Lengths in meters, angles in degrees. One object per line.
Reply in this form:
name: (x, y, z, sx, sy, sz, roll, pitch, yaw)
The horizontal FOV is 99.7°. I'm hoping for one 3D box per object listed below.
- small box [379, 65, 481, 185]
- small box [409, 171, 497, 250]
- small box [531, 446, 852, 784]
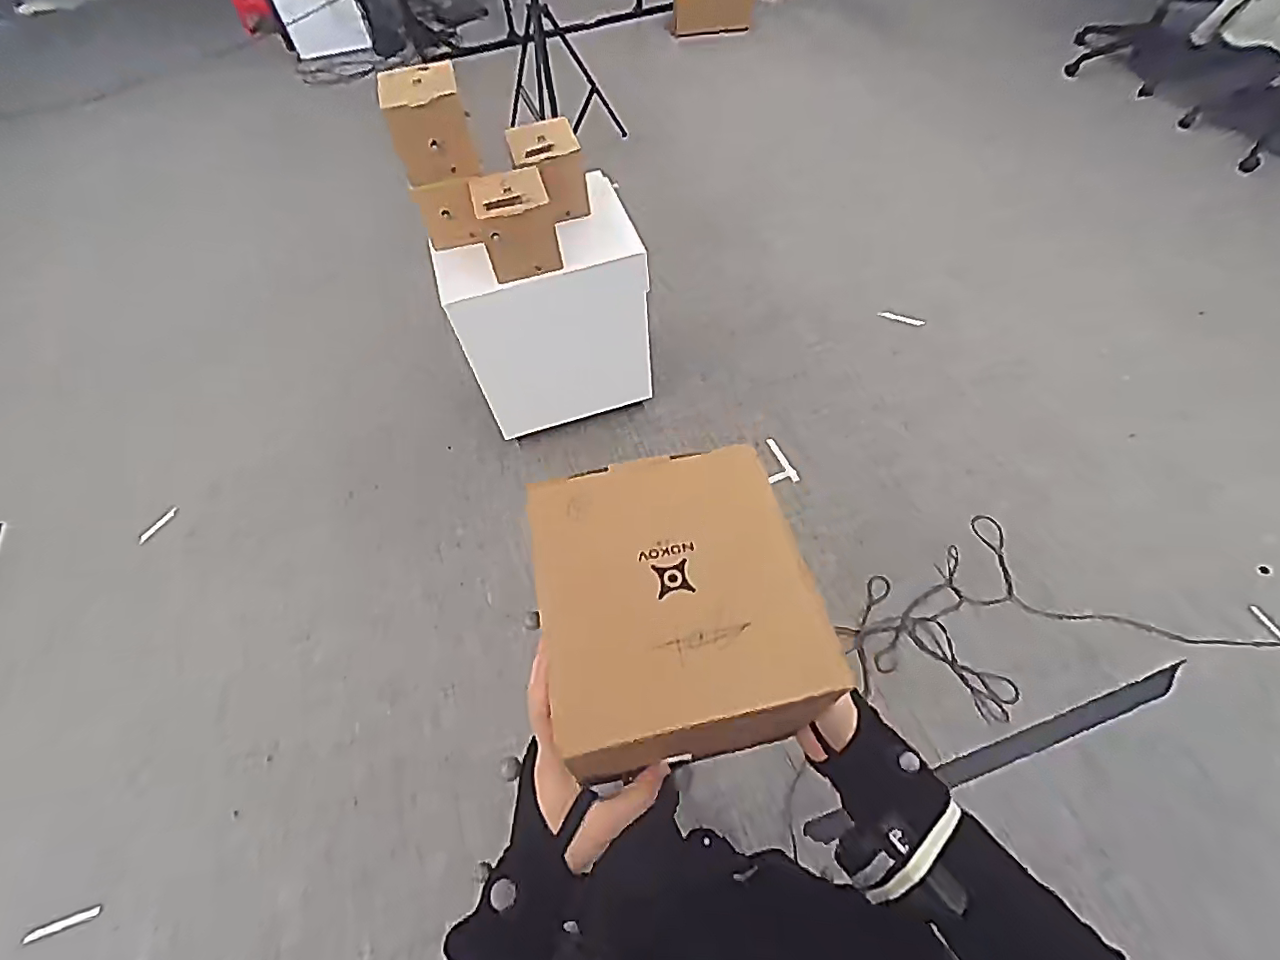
small box: (-0.474, -0.799, 1.233, 0.168, 0.176, 0.179, -15, 60, -6)
small box: (-0.470, -0.706, 1.368, 0.168, 0.176, 0.179, -14, 59, -5)
small box: (0.021, 0.103, 0.400, 0.168, 0.176, 0.179, -11, 57, -6)
